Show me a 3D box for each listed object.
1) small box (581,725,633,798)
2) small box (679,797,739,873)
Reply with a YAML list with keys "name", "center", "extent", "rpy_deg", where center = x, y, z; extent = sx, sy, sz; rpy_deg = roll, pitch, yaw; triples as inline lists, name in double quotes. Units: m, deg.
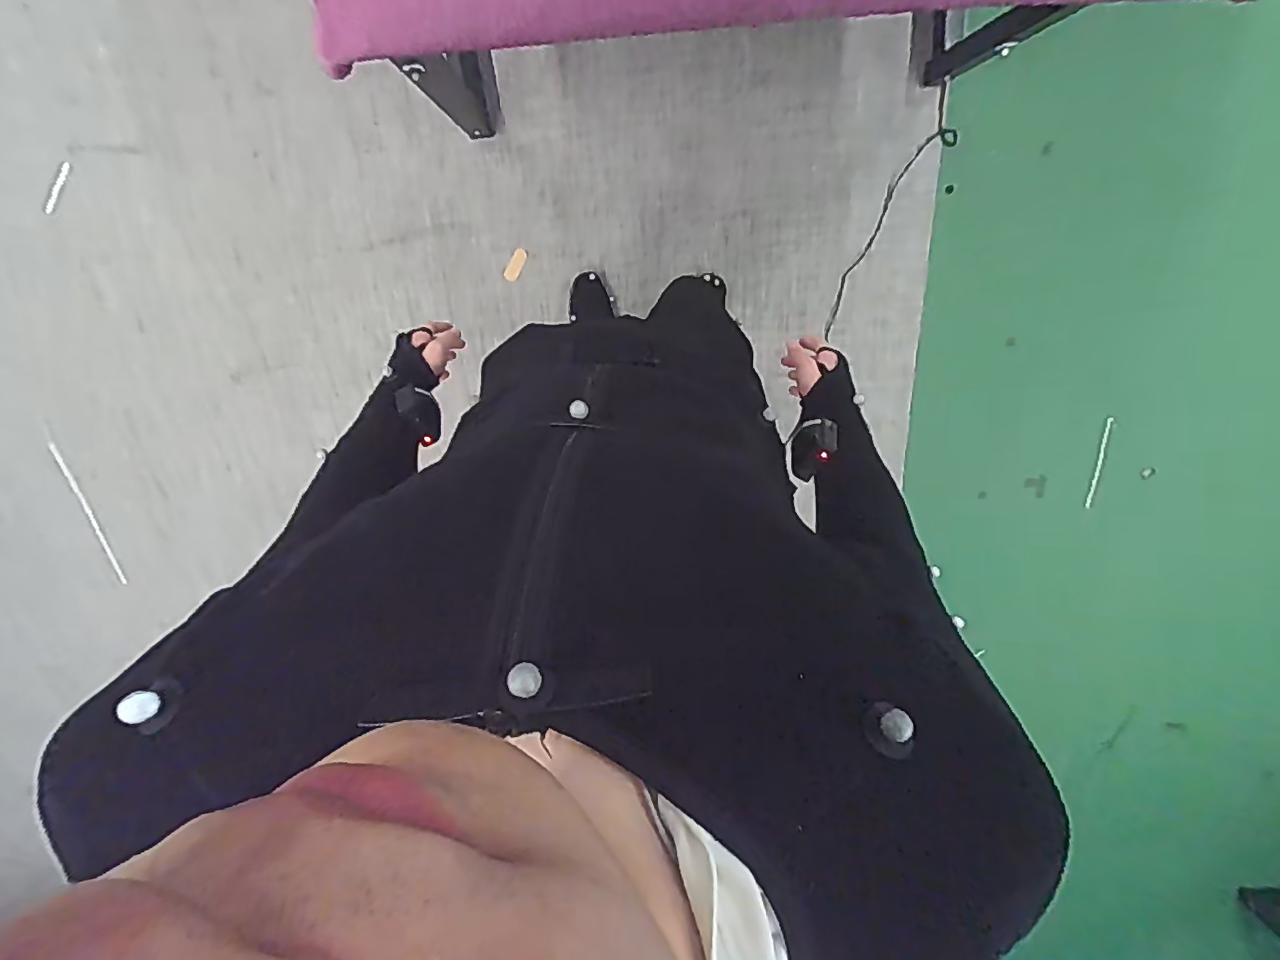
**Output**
- name: "small box"
  center: [-0.124, 1.026, 1.983]
  extent: [0.179, 0.176, 0.168]
  rpy_deg: [-5, 111, -3]
- name: "small box"
  center: [0.239, 1.254, 1.918]
  extent: [0.179, 0.176, 0.168]
  rpy_deg: [2, 112, -5]
